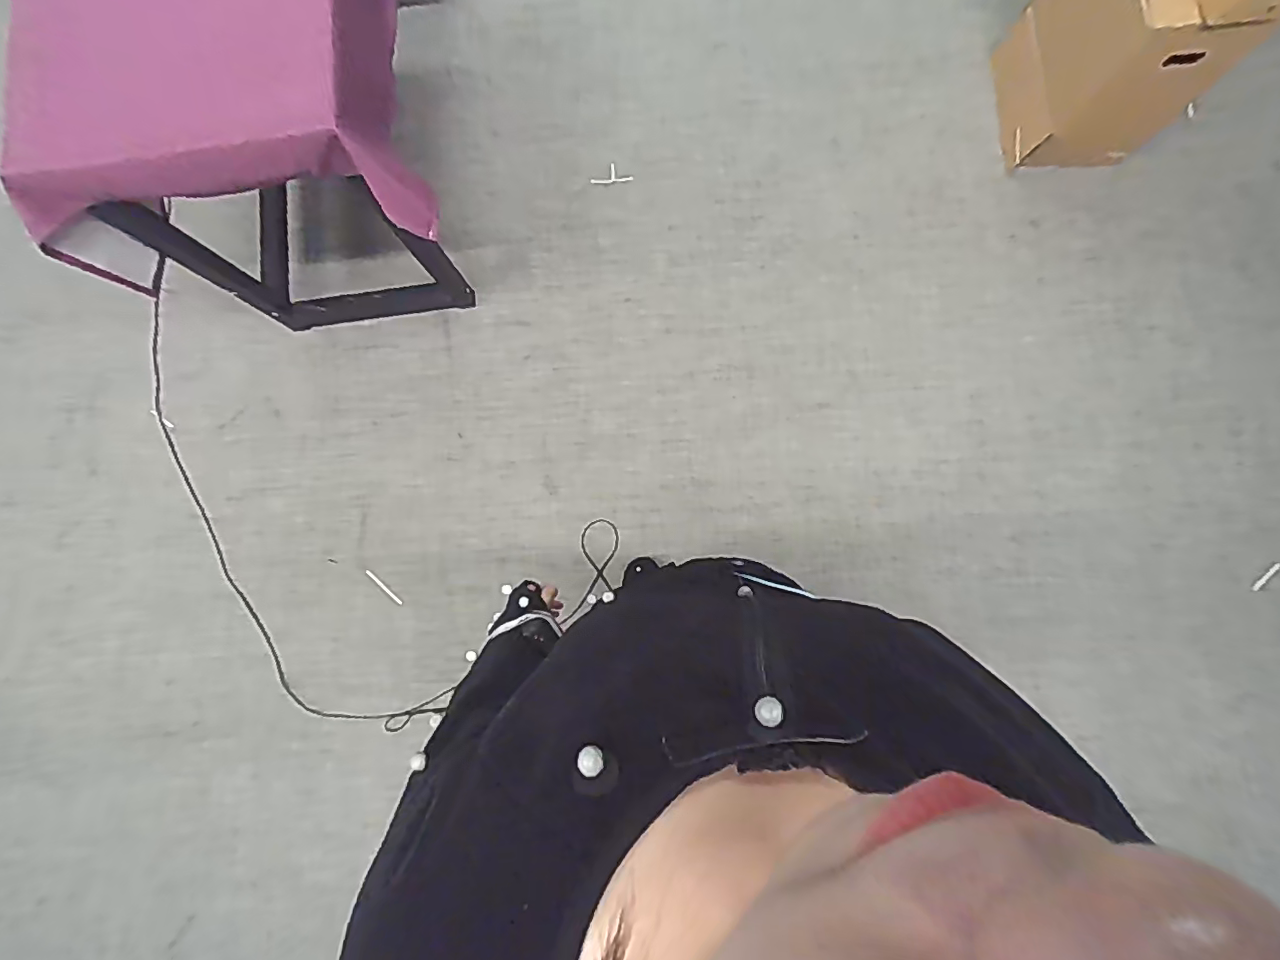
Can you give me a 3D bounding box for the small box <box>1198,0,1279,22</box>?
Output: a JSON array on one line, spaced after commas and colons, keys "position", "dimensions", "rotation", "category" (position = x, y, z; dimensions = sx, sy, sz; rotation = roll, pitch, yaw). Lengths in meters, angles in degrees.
[{"position": [1.278, -1.067, 1.086], "dimensions": [0.168, 0.176, 0.179], "rotation": [-4, 81, 1], "category": "small box"}]
